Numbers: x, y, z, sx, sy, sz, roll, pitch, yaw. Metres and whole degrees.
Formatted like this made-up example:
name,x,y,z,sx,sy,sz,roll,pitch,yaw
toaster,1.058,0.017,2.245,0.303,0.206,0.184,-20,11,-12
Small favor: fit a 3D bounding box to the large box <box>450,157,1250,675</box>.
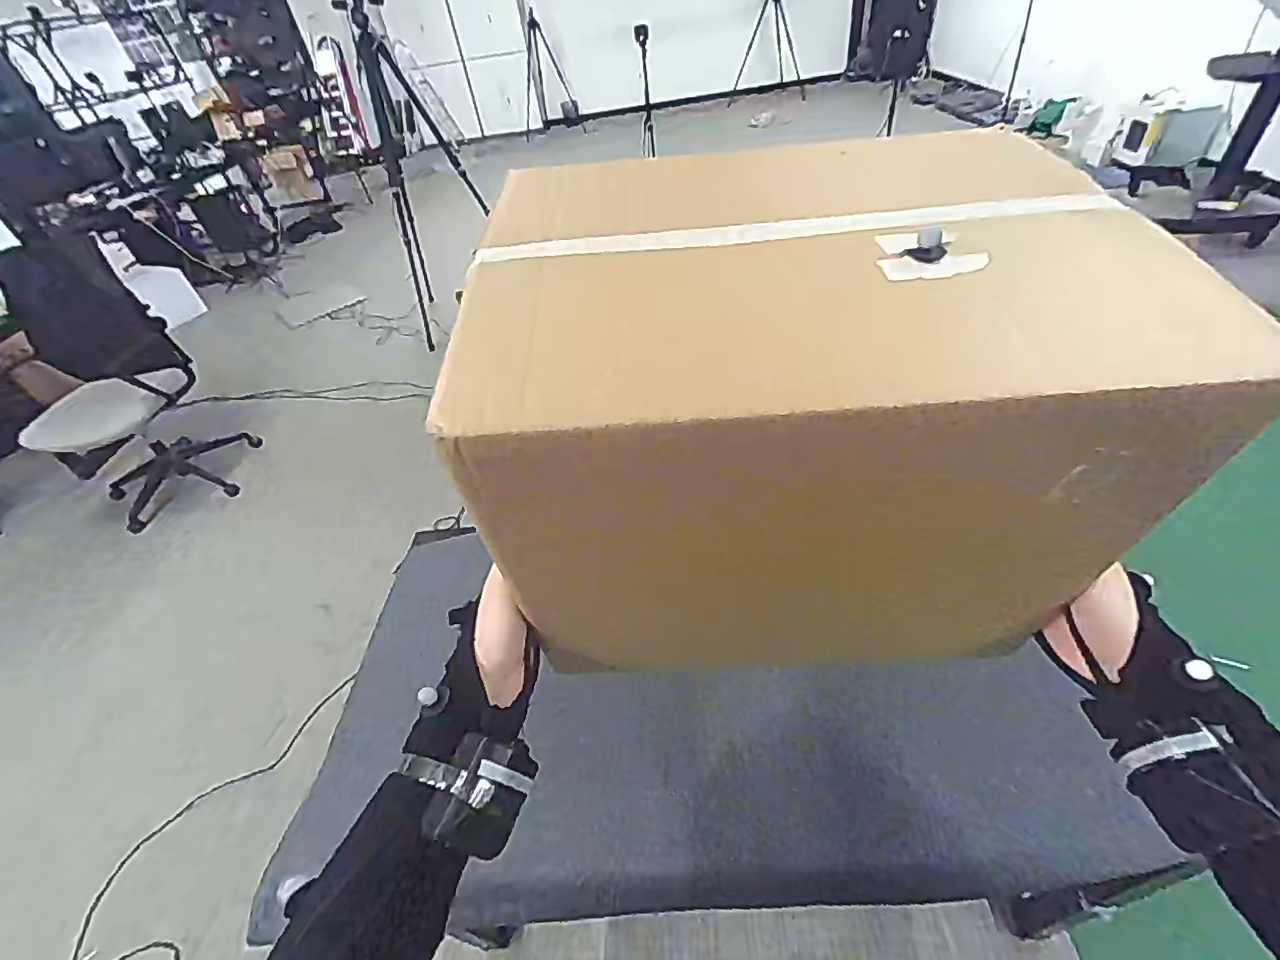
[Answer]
name,x,y,z,sx,sy,sz,roll,pitch,yaw
large box,0.103,-0.044,0.474,0.408,0.320,0.320,-4,51,2
